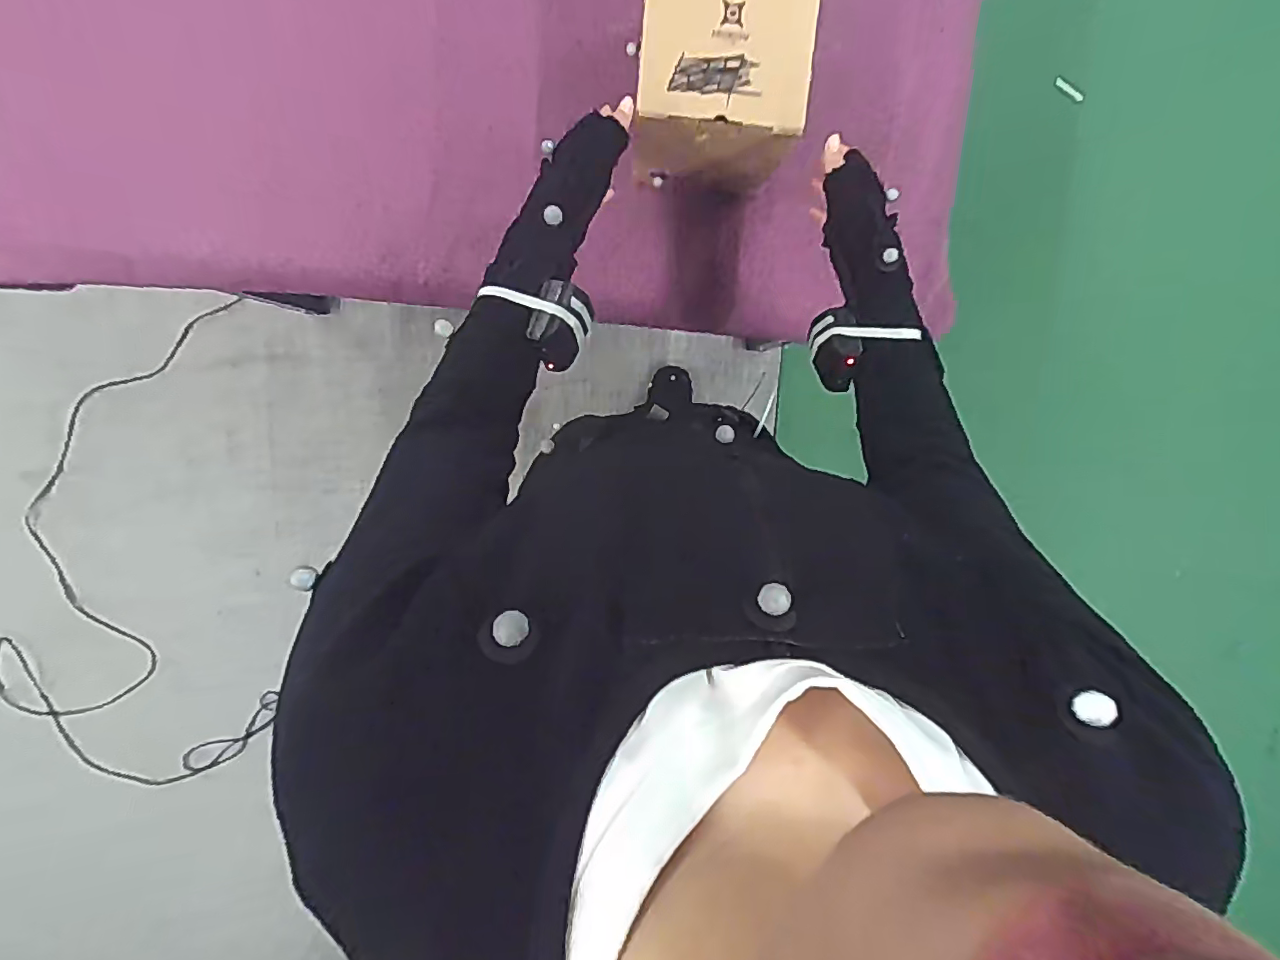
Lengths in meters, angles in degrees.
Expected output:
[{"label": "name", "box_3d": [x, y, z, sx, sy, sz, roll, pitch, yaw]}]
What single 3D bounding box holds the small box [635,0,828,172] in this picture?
[{"label": "small box", "box_3d": [0.087, -0.455, 0.573, 0.168, 0.176, 0.179, 6, 100, -6]}]
